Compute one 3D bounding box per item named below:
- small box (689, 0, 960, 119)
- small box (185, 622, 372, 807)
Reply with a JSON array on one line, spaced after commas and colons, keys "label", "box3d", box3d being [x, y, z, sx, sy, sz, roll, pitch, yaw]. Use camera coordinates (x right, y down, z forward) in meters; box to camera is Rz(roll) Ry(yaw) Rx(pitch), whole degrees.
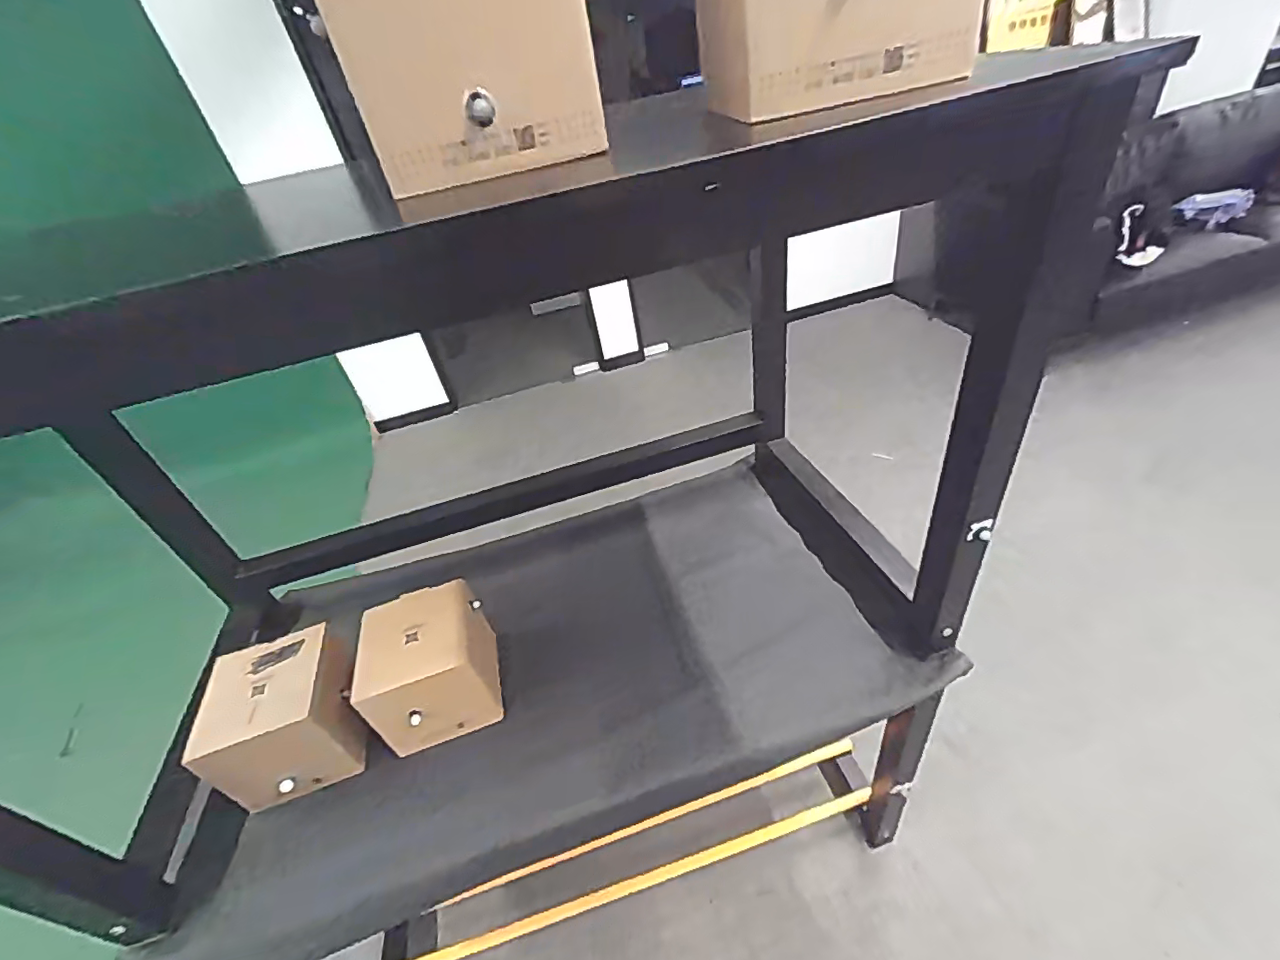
[{"label": "small box", "box3d": [0.130, -0.391, 0.414, 0.168, 0.176, 0.179, -11, 37, 2]}, {"label": "small box", "box3d": [-0.538, 0.361, 0.839, 0.168, 0.176, 0.179, -18, 38, -8]}]
